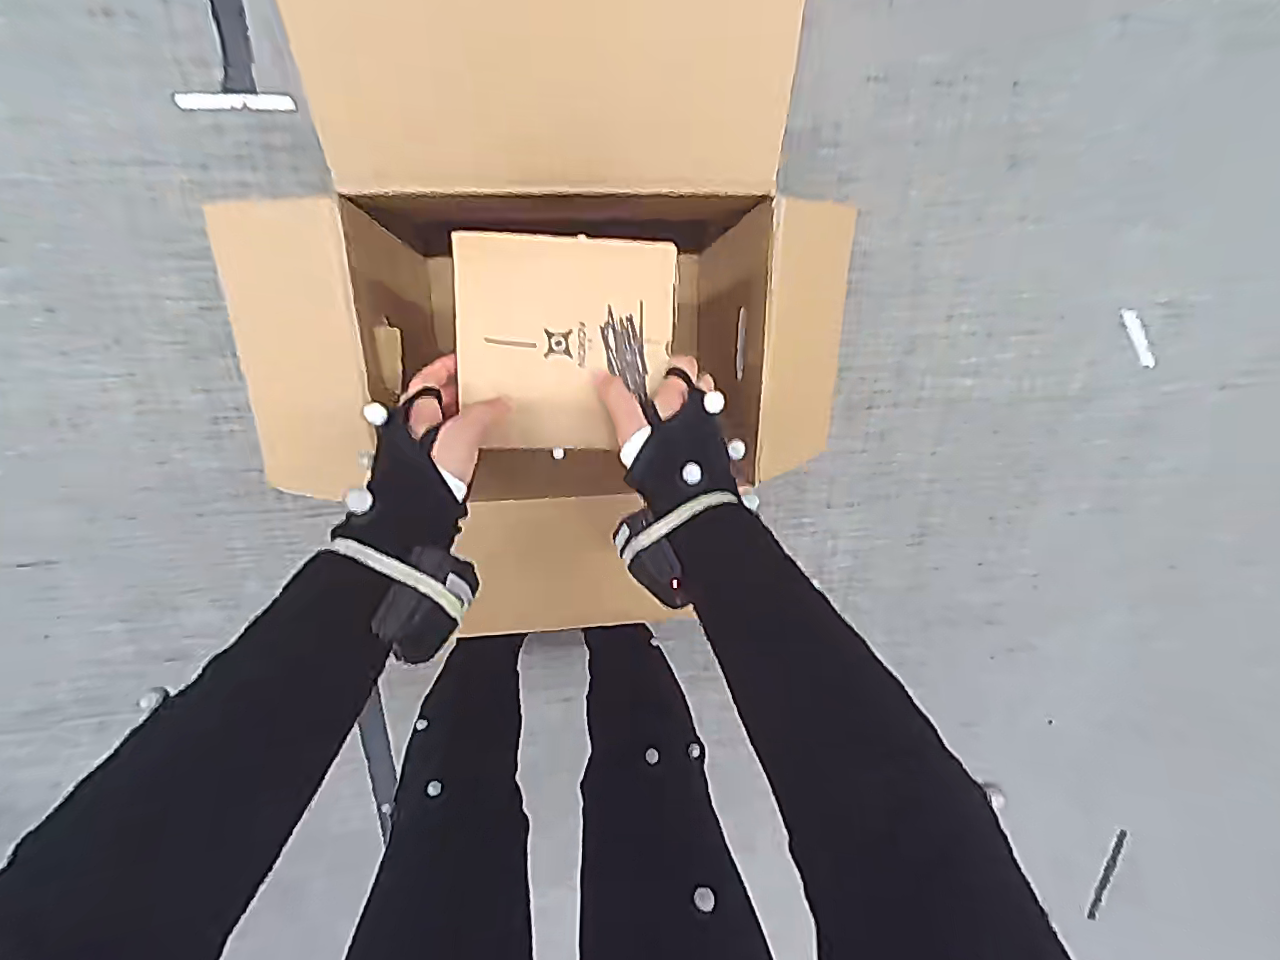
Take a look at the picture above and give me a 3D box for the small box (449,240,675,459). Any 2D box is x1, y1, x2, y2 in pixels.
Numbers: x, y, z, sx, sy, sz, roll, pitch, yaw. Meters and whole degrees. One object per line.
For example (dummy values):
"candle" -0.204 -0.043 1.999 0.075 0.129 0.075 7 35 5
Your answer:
"small box" -0.073 -0.110 0.506 0.179 0.176 0.168 0 98 -9
